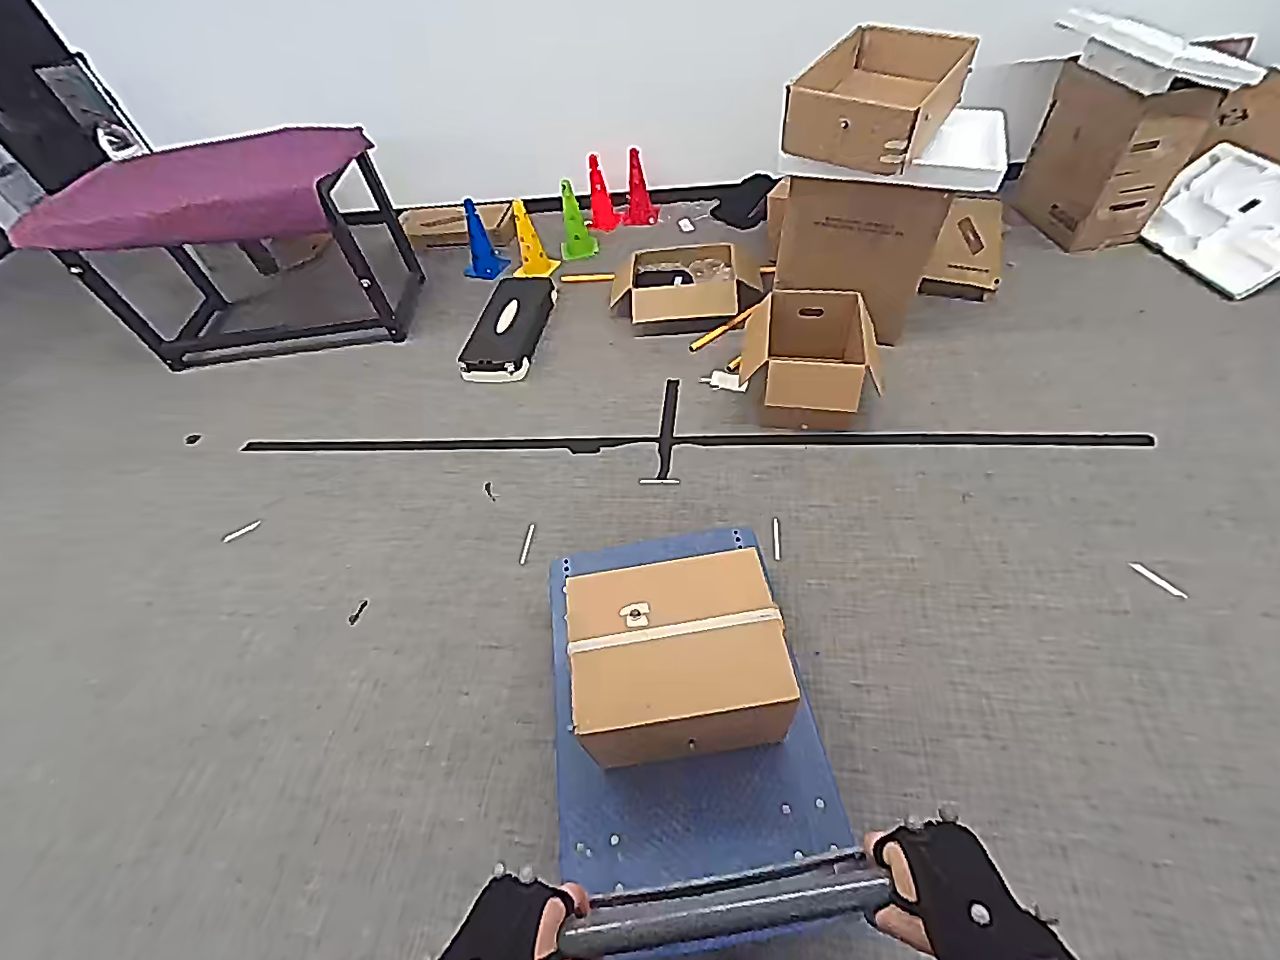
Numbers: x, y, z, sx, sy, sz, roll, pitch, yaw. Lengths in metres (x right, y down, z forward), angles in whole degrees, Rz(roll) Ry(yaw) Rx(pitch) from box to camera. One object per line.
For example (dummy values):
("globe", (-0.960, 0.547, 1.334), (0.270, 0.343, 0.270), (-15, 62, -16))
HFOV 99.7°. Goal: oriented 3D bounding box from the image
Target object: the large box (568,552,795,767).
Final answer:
("large box", (0.082, 0.396, 1.173), (0.408, 0.320, 0.320), (-11, 50, 1))
